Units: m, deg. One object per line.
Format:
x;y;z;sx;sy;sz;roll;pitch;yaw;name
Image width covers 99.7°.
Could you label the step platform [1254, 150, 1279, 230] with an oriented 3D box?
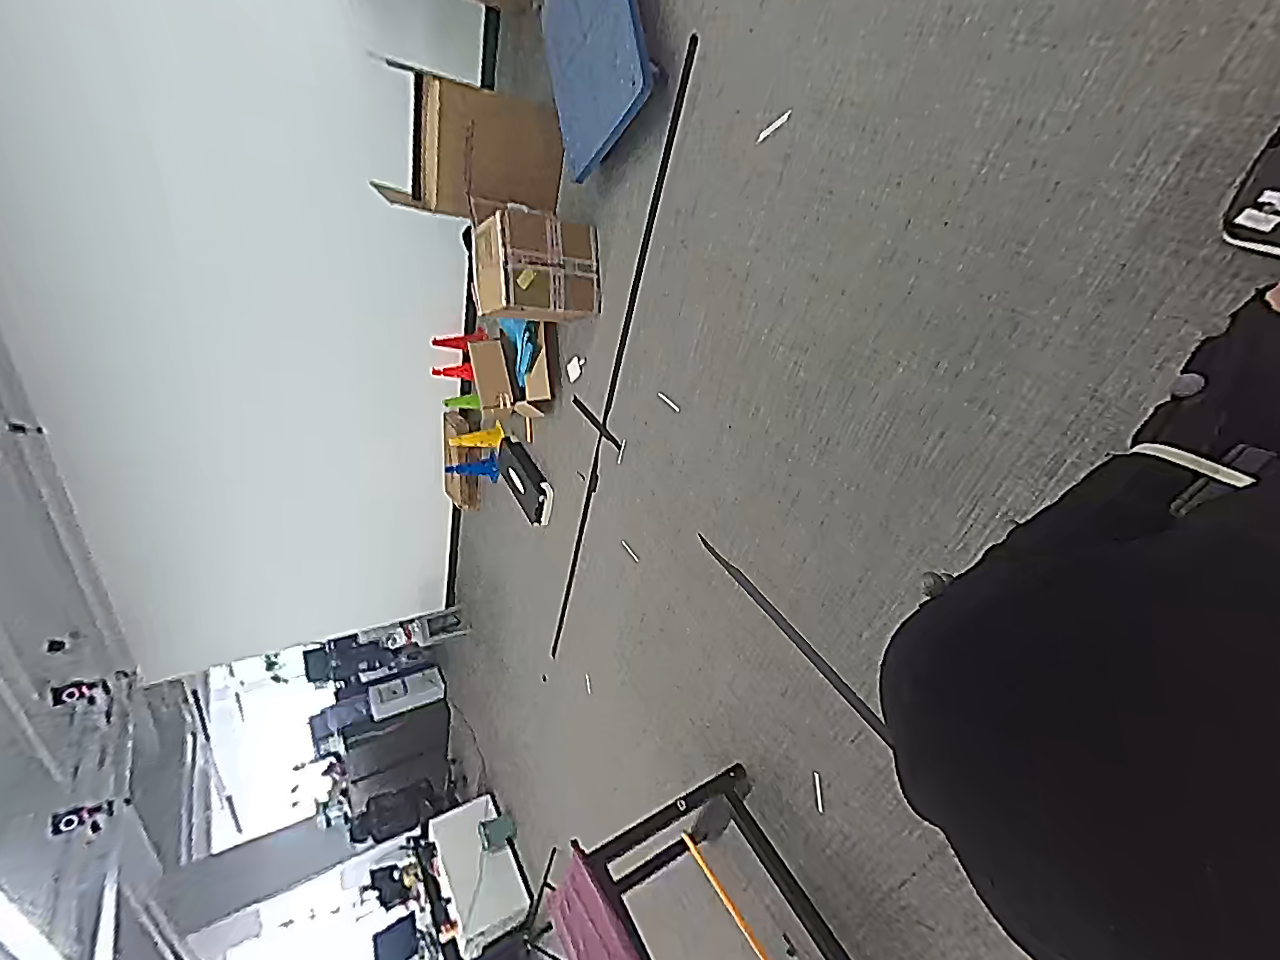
1.162;-0.347;0.573;0.684;0.204;0.286;47;133;41;step platform
